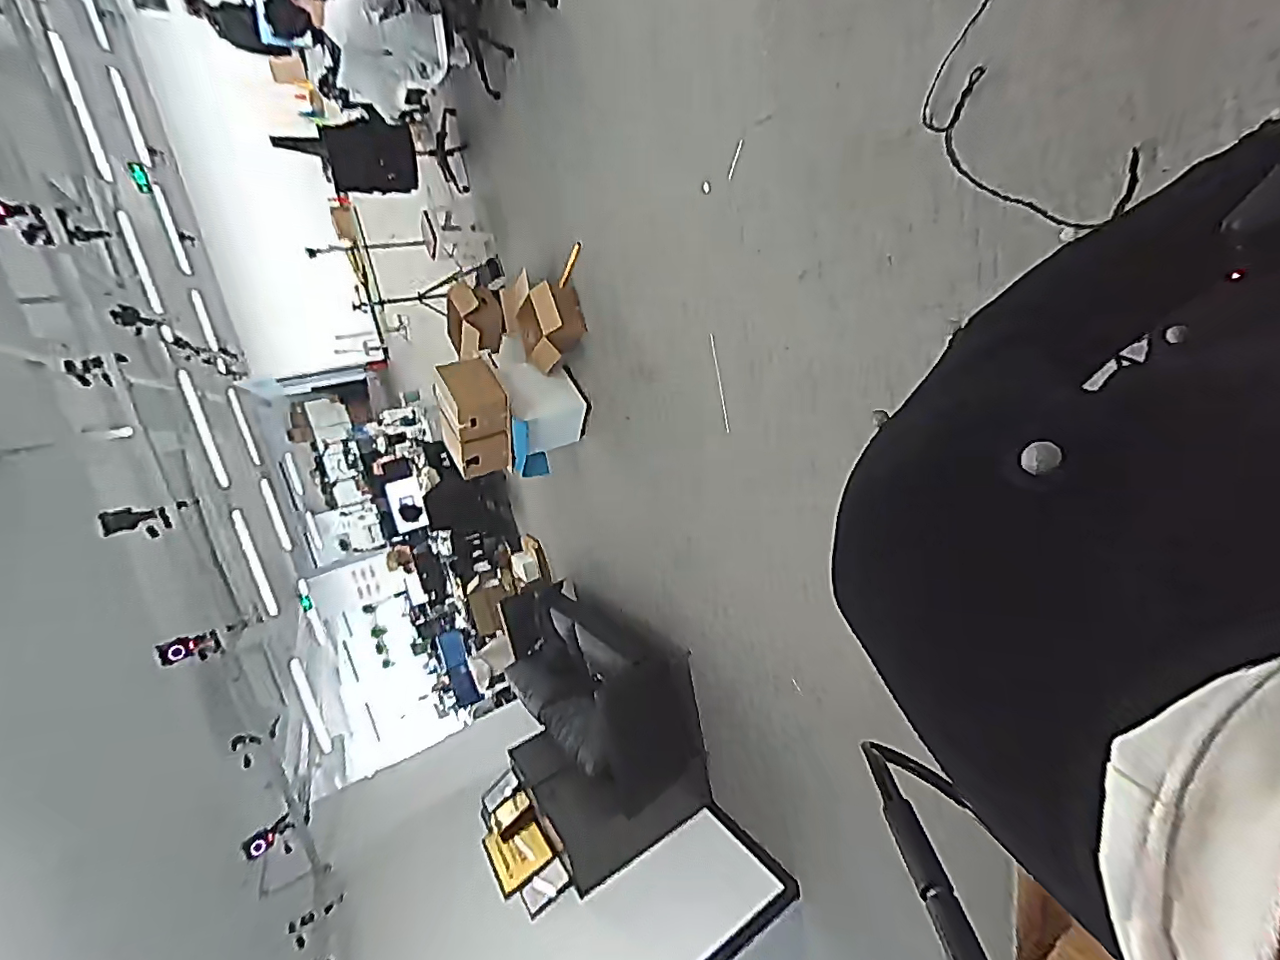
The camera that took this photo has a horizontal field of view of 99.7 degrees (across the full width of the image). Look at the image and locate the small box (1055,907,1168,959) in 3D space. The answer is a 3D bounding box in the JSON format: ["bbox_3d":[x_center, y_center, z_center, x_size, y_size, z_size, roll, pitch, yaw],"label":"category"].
[{"bbox_3d":[1.058,1.120,1.204,0.179,0.176,0.168,20,122,56],"label":"small box"}]
